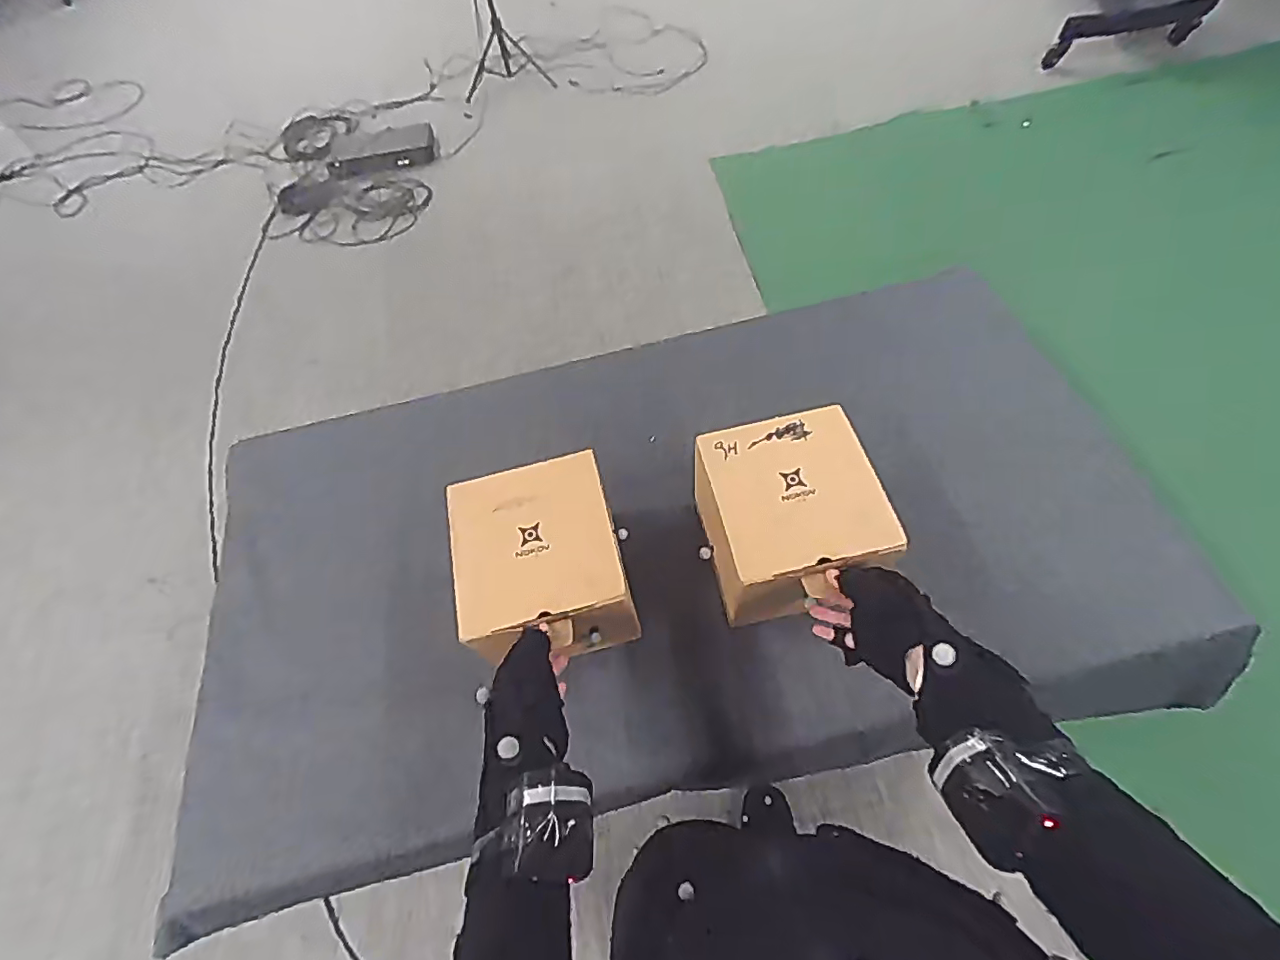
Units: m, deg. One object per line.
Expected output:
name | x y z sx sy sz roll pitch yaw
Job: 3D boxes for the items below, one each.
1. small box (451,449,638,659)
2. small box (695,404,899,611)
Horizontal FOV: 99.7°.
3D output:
small box | -0.104 0.096 0.629 0.168 0.176 0.179 -15 60 -4
small box | 0.163 0.042 0.630 0.168 0.176 0.179 -12 62 -2
